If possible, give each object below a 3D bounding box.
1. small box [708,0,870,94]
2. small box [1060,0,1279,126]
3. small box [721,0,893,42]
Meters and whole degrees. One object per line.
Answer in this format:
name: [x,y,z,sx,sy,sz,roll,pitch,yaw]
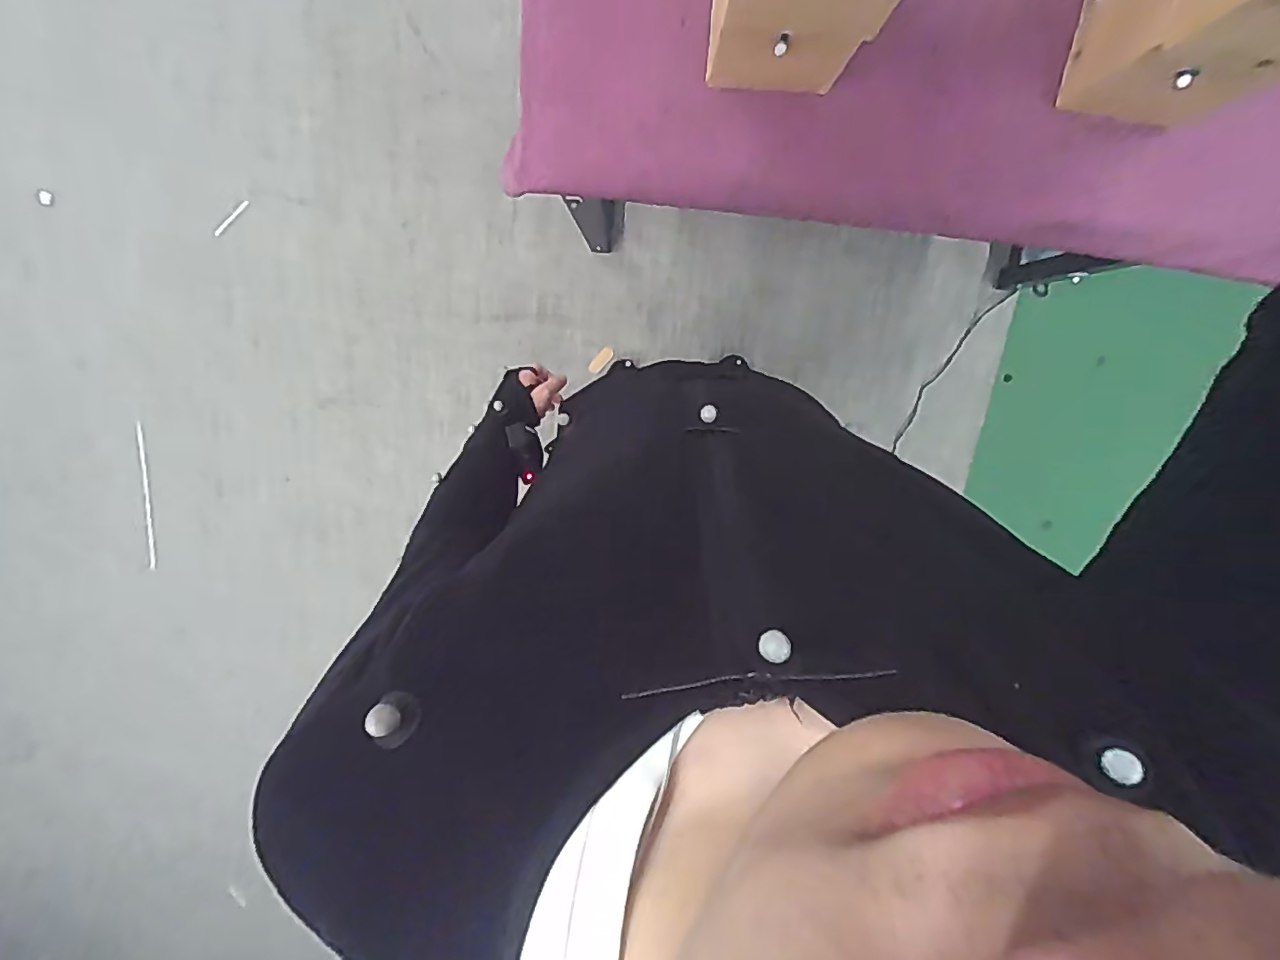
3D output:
small box: [0.188,-0.621,0.686,0.179,0.176,0.168,5,103,2]
small box: [0.684,-0.574,0.676,0.179,0.176,0.168,9,103,0]
small box: [0.184,-0.570,0.528,0.179,0.176,0.168,6,102,1]
